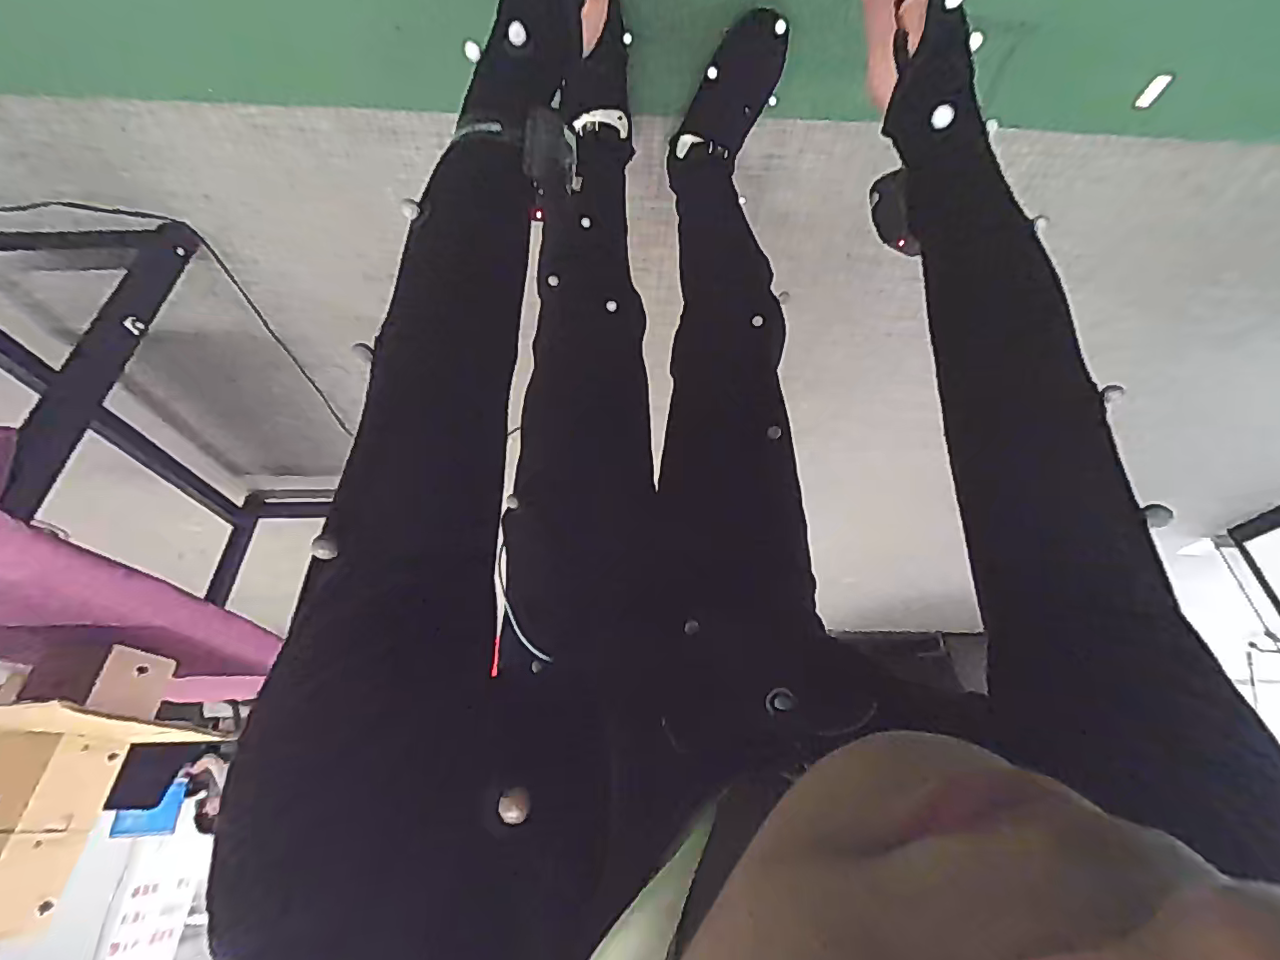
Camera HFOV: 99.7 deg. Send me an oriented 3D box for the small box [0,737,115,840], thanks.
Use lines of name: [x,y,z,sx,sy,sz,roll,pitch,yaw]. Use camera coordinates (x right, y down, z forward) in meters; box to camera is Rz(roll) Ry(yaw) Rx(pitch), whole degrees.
small box: [-1.213,0.614,1.076,0.179,0.176,0.168,-1,147,1]
